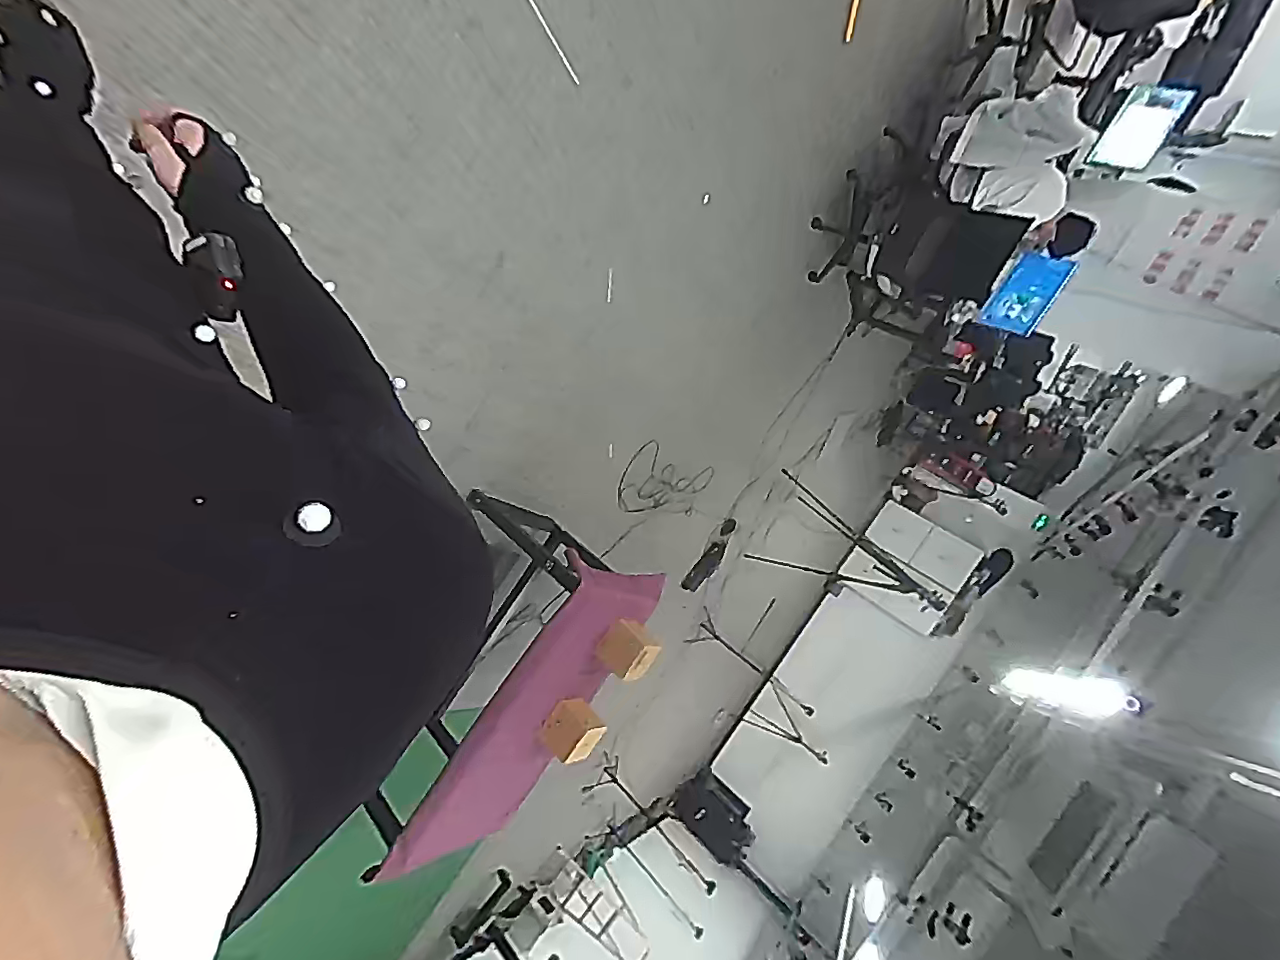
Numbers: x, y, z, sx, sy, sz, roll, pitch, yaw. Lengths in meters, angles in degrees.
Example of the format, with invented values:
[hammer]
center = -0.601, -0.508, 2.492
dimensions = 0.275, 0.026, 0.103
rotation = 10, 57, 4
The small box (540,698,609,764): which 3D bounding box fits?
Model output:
[small box]
center = -0.265, 1.005, 2.183
dimensions = 0.168, 0.176, 0.179
rotation = -56, 149, 0
